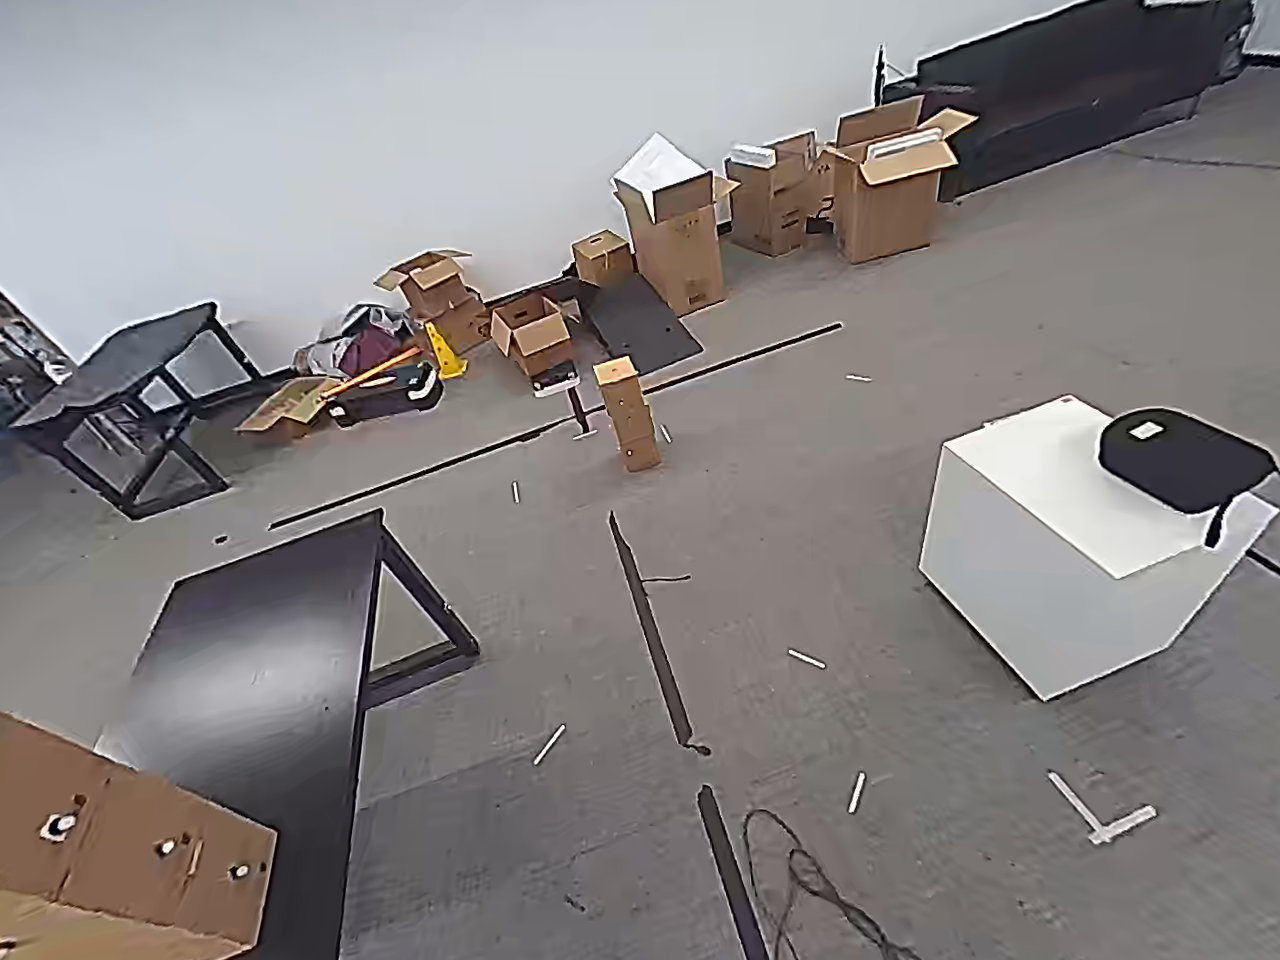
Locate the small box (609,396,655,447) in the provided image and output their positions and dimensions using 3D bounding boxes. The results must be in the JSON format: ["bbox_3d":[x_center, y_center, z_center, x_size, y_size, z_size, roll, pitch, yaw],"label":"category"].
[{"bbox_3d":[-0.043,-0.277,2.486,0.179,0.176,0.168,-19,41,-4],"label":"small box"}]

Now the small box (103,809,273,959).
[{"bbox_3d":[-0.704,0.642,0.820,0.179,0.176,0.168,-21,41,-6],"label":"small box"}]

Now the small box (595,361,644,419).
[{"bbox_3d":[-0.089,-0.396,2.384,0.168,0.176,0.179,-18,41,-3],"label":"small box"}]

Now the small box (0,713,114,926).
[{"bbox_3d":[-0.777,0.403,0.608,0.179,0.176,0.168,-21,42,-5],"label":"small box"}]

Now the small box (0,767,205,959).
[{"bbox_3d":[-0.742,0.522,0.713,0.179,0.176,0.168,-21,41,-5],"label":"small box"}]
